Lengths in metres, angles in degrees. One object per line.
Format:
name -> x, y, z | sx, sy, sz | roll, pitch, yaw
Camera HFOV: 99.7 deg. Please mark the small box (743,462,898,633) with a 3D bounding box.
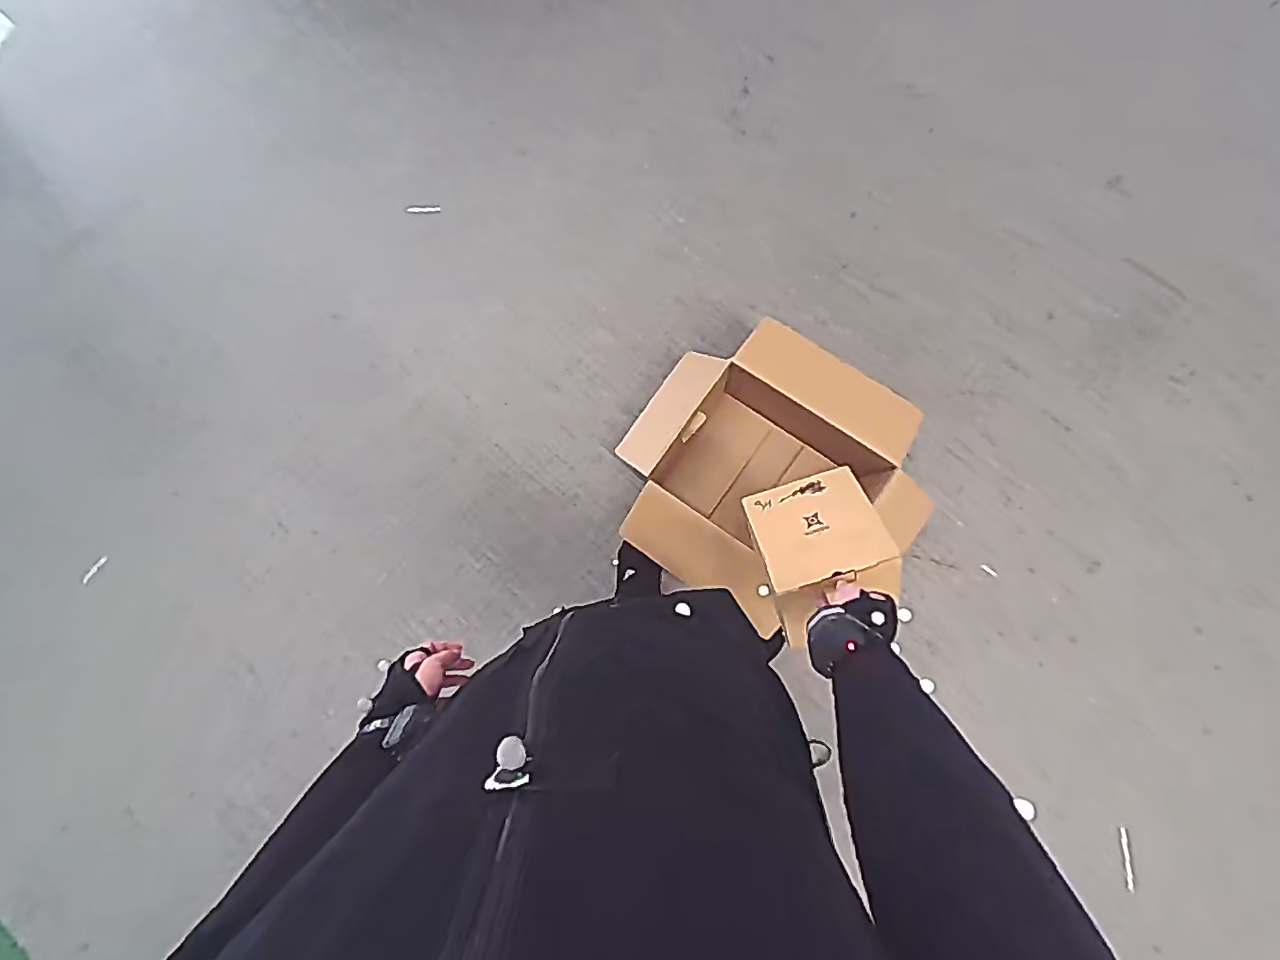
small box -> 0.265, 0.109, 0.804 | 0.168, 0.176, 0.179 | -17, 44, 7
